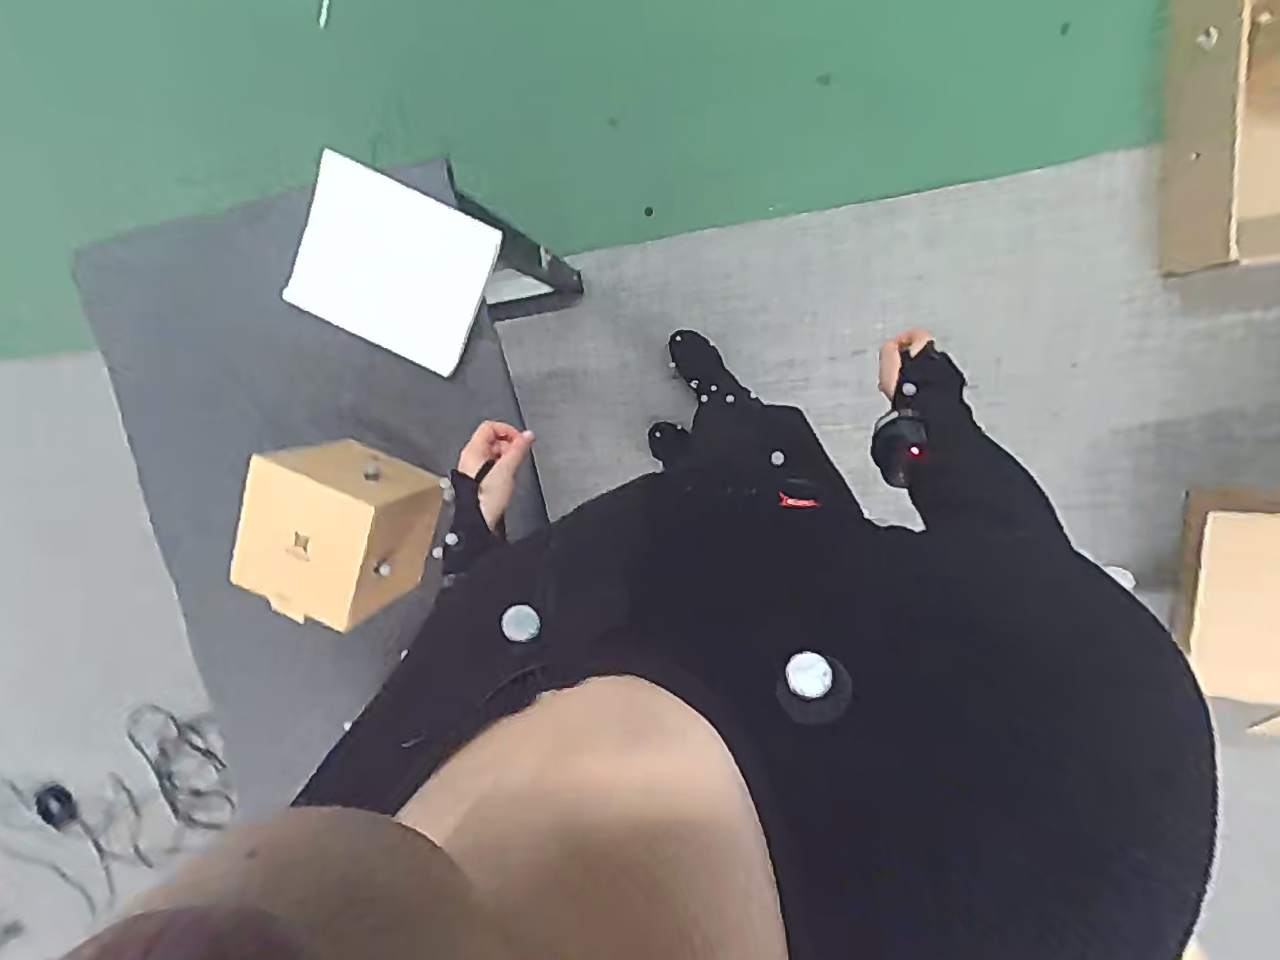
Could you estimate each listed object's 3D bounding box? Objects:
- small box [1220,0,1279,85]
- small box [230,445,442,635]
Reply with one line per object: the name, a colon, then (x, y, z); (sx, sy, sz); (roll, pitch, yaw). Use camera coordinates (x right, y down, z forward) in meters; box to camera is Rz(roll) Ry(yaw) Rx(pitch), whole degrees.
small box: (1.270, -0.867, 1.003); (0.179, 0.176, 0.168); (9, 103, 5)
small box: (-0.389, 0.066, 0.718); (0.168, 0.176, 0.179); (21, 105, 4)
